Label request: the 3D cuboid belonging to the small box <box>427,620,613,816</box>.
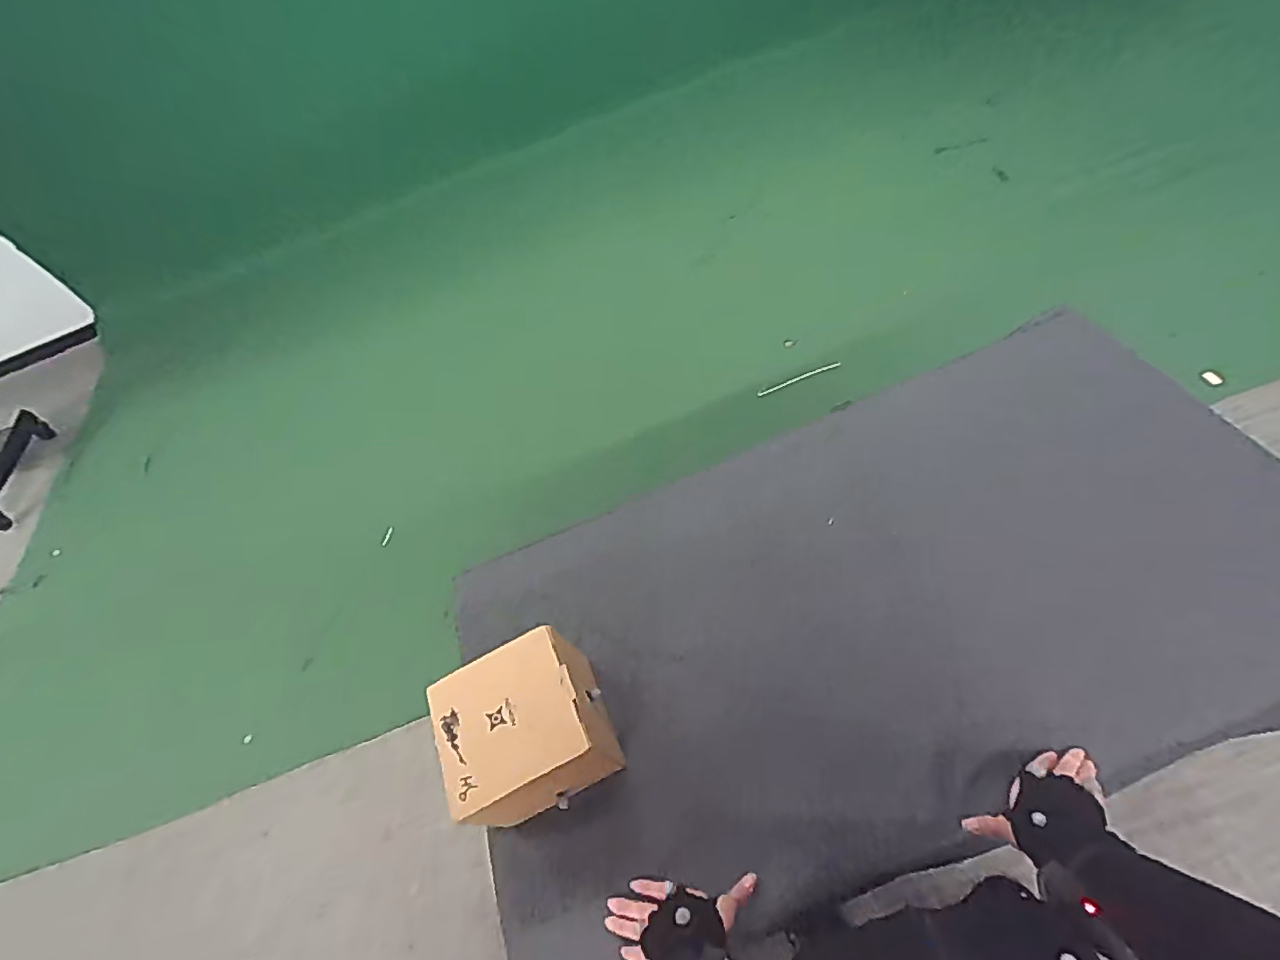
[{"bbox_3d":[-0.148,0.316,0.712,0.179,0.176,0.168,-26,55,-4],"label":"small box"}]
